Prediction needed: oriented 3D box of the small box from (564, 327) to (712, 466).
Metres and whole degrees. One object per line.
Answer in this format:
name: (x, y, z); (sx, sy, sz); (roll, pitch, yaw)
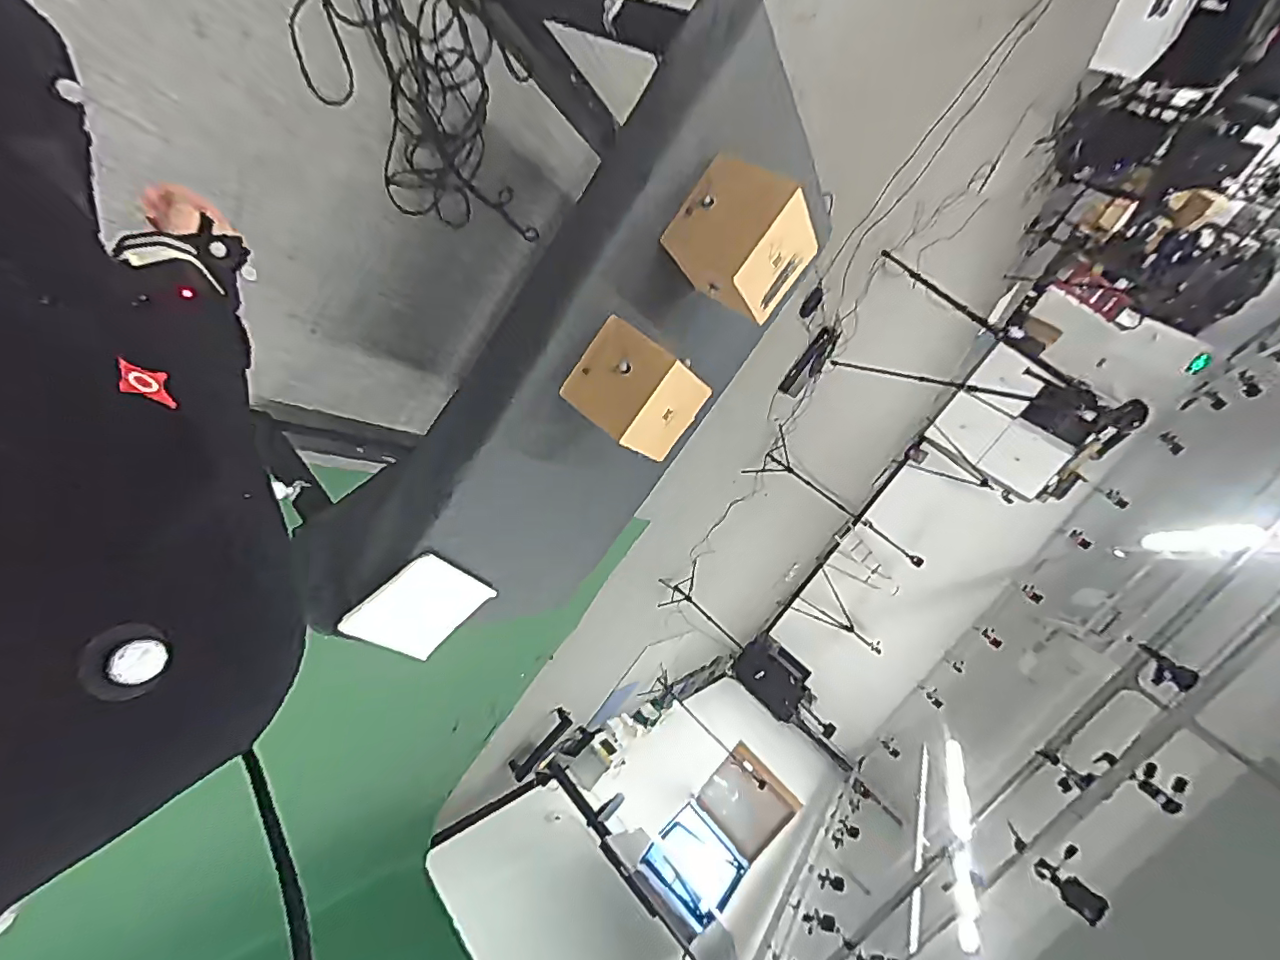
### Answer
small box: (-0.005, -0.151, 0.978); (0.168, 0.176, 0.179); (-54, 154, 9)
